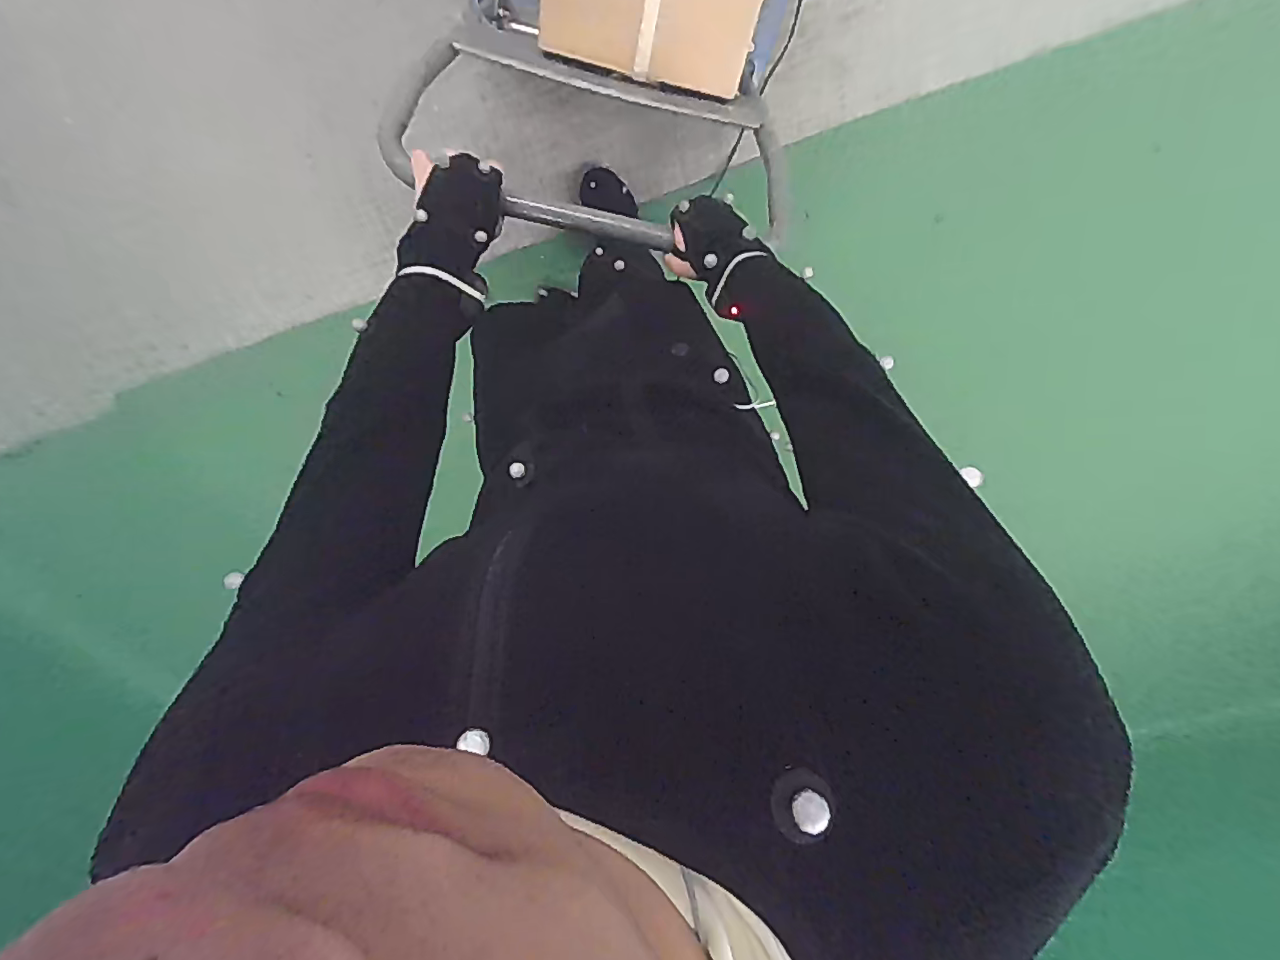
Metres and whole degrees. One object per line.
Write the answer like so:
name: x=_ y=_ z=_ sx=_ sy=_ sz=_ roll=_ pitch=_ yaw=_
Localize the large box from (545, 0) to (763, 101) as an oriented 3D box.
large box: x=0.047 y=-0.873 z=0.822 sx=0.320 sy=0.320 sz=0.408 roll=10 pitch=134 yaw=-9
